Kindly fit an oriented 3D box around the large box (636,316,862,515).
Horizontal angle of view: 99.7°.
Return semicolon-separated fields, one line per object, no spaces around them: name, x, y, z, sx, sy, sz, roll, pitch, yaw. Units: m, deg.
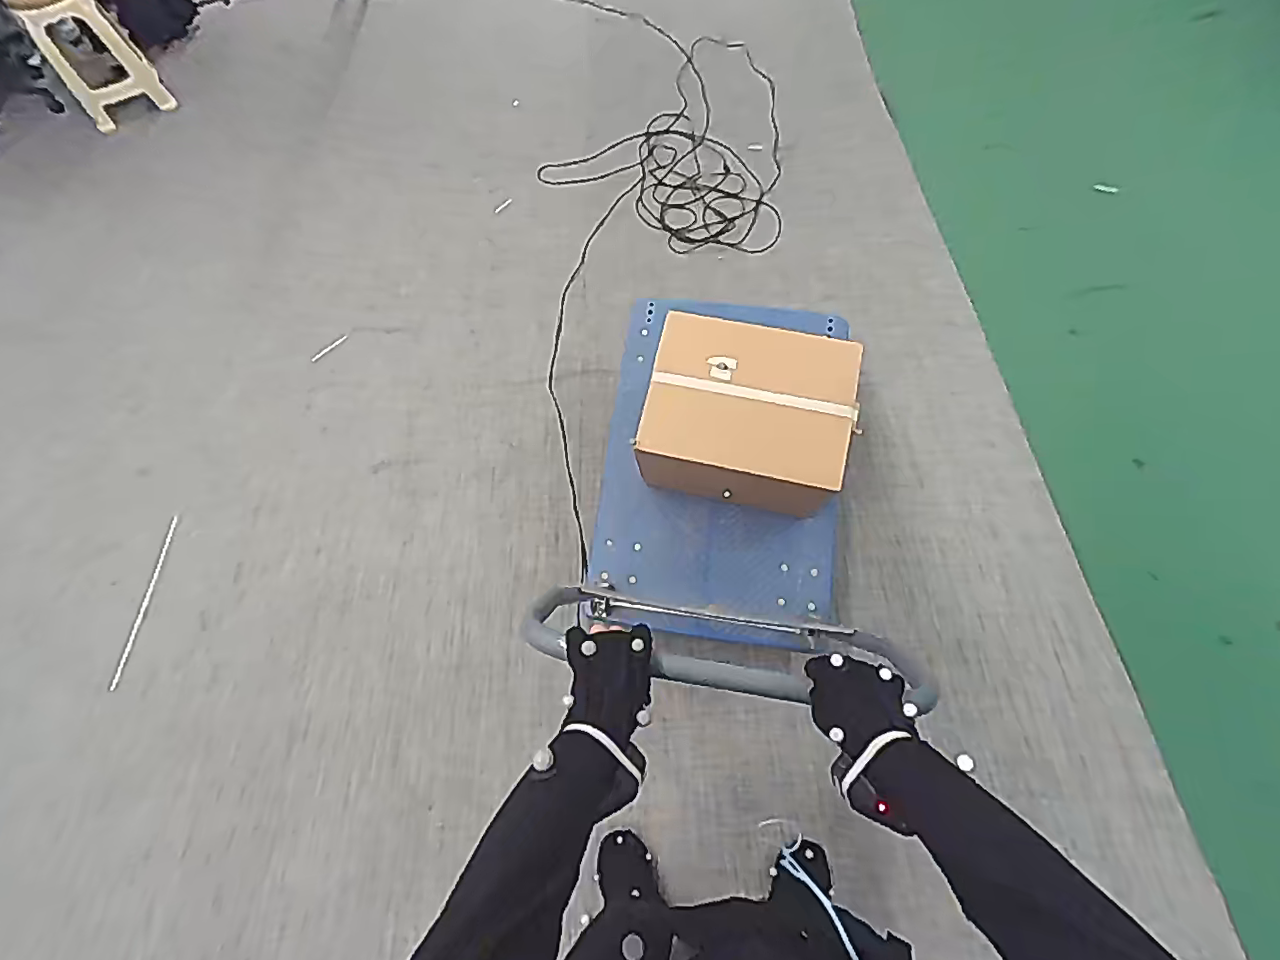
large box;0.234;-0.127;1.217;0.408;0.320;0.320;13;78;9
